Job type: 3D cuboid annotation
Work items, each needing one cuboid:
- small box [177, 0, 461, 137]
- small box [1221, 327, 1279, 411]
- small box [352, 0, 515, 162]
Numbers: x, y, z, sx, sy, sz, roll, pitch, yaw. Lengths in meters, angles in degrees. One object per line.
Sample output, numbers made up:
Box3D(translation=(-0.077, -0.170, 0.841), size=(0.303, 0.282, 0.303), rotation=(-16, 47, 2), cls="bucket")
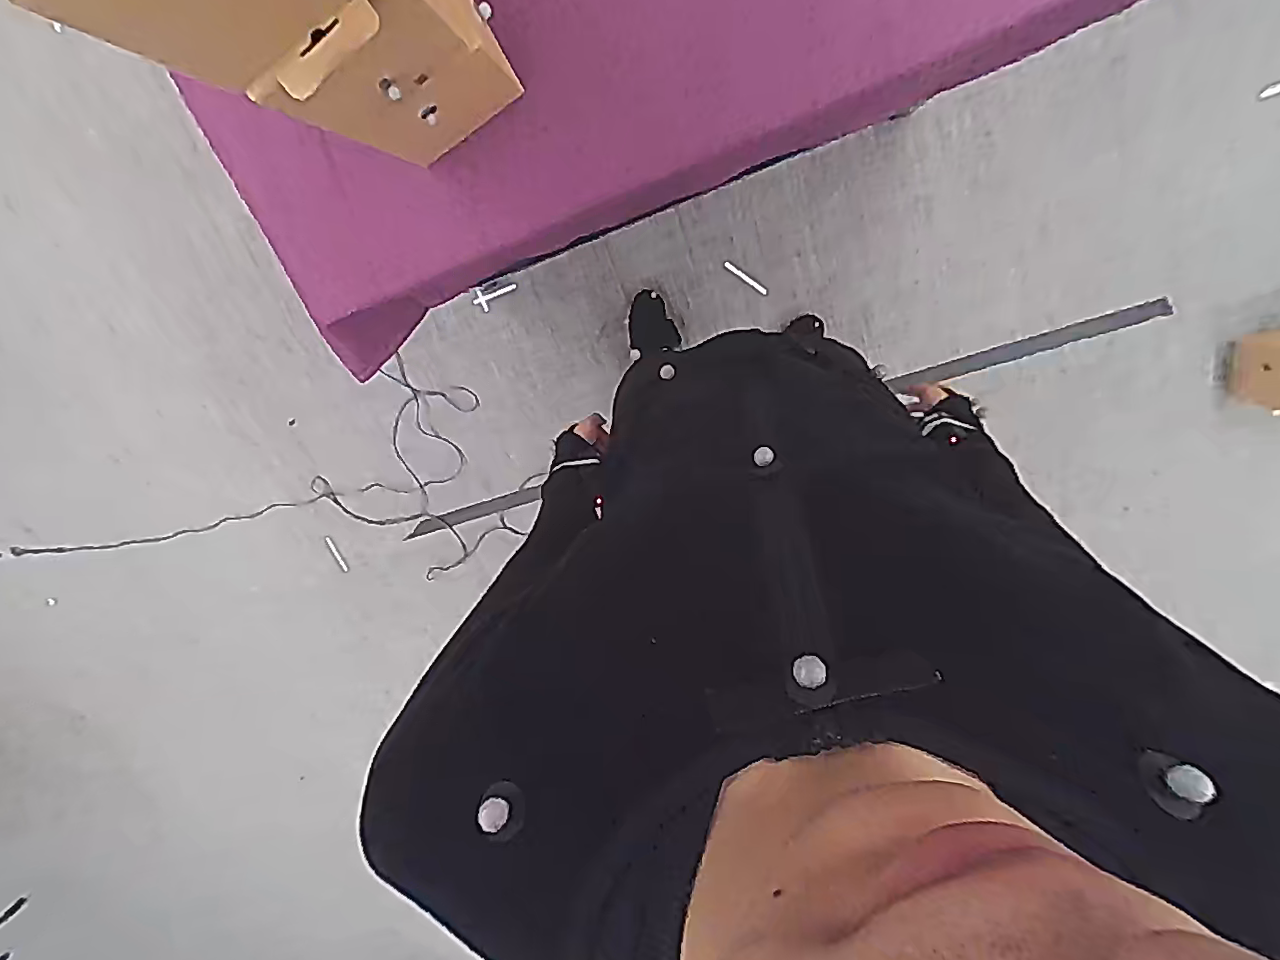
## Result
Box3D(translation=(-0.301, -0.457, 0.492), size=(0.168, 0.176, 0.179), rotation=(-29, 107, 15), cls="small box")
Box3D(translation=(1.637, -0.287, 1.363), size=(0.179, 0.176, 0.168), rotation=(-14, 110, 9), cls="small box")
Box3D(translation=(-0.278, -0.515, 0.644), size=(0.179, 0.176, 0.168), rotation=(-28, 107, 13), cls="small box")
